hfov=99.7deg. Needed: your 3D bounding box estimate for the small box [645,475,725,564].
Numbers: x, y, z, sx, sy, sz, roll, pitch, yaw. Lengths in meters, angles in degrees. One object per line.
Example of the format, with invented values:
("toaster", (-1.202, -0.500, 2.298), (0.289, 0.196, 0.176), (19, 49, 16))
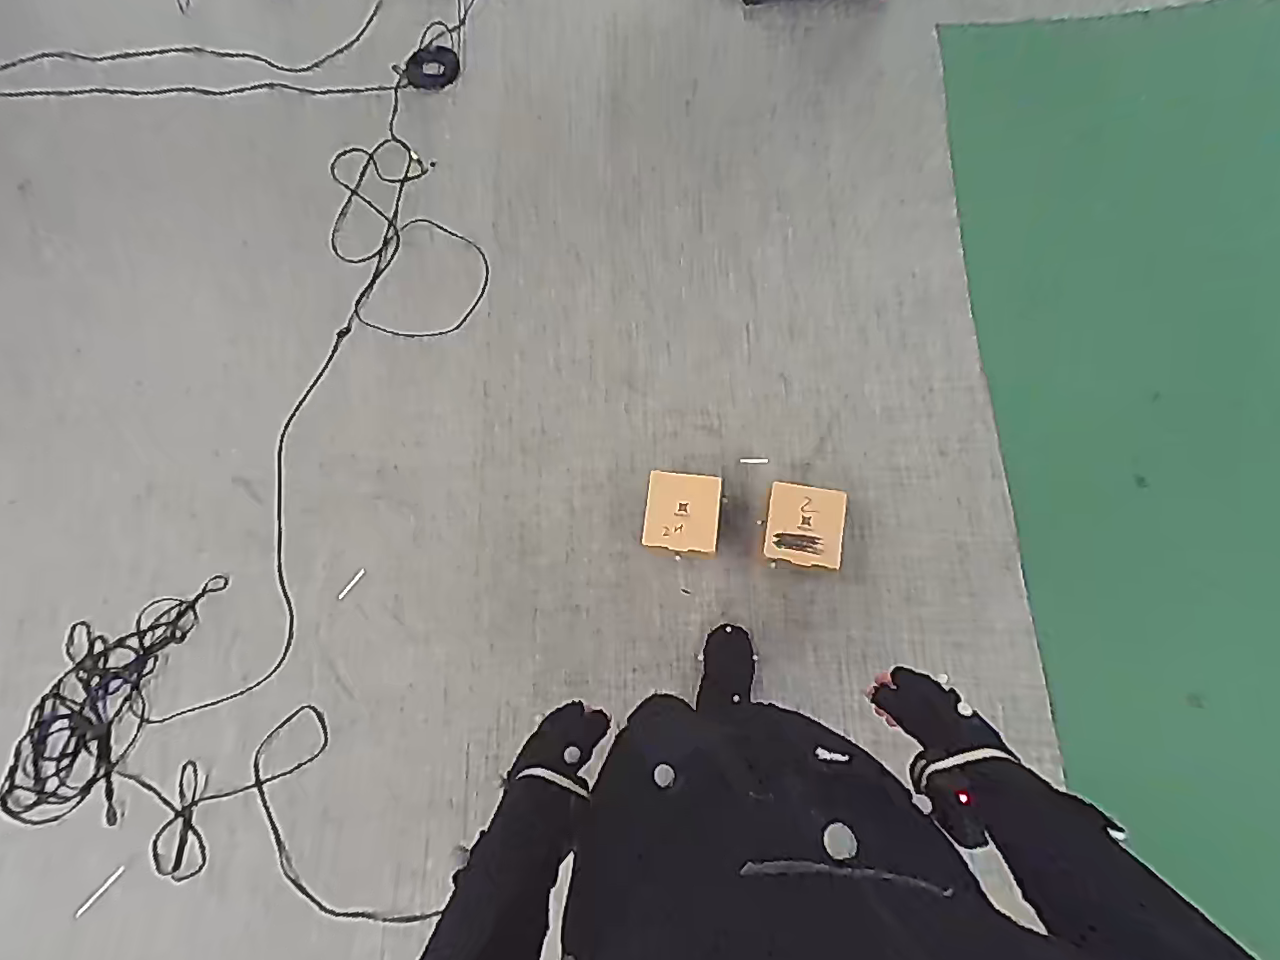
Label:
("small box", (0.108, 0.099, 1.295), (0.168, 0.176, 0.179), (6, 77, 7))
